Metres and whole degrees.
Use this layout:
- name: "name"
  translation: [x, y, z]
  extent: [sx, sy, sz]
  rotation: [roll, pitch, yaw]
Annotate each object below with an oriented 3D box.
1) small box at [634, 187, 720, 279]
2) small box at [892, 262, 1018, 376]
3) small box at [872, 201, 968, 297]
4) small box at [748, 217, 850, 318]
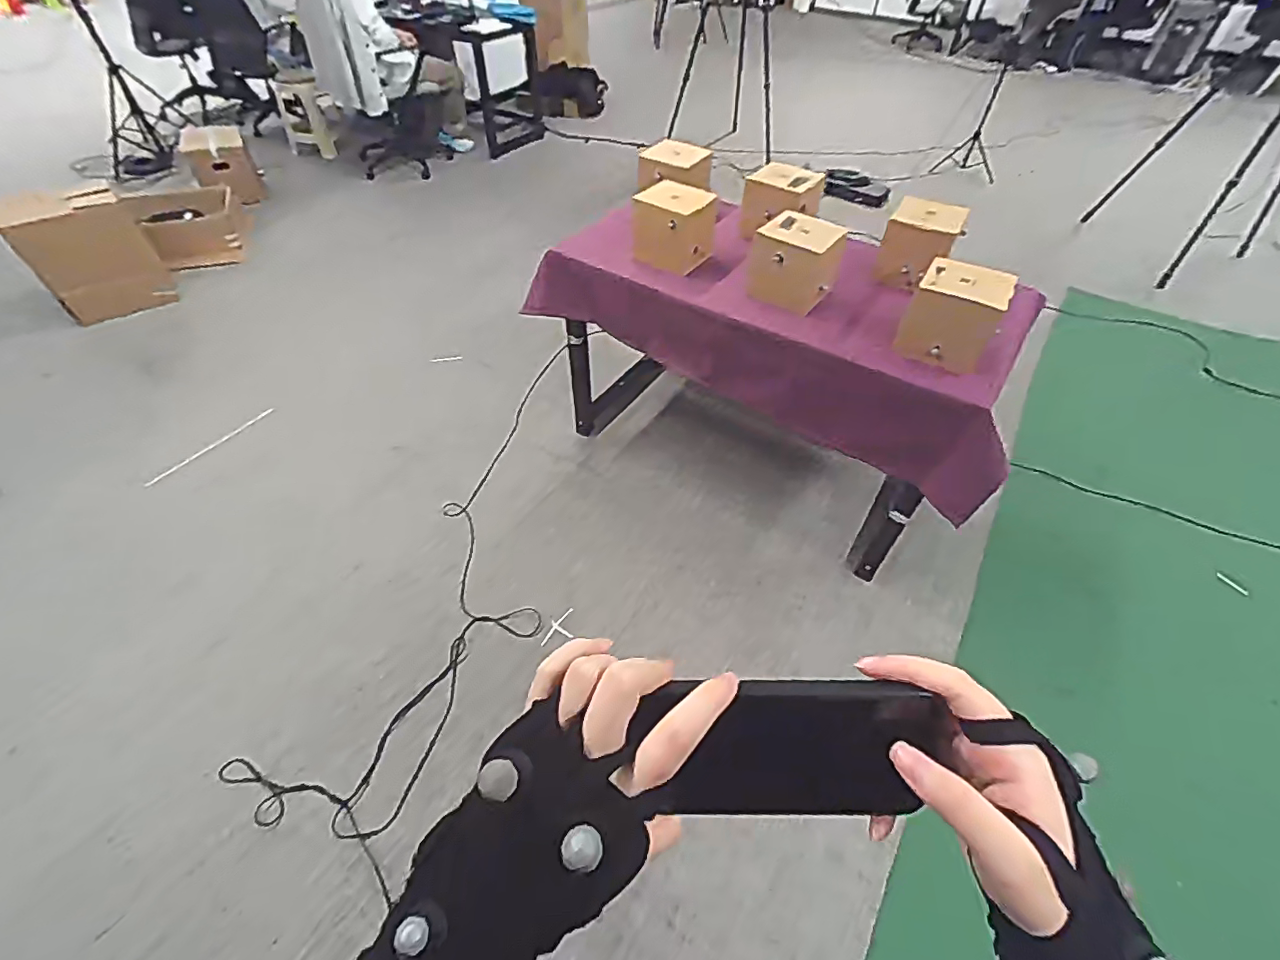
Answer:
- name: "small box"
  translation: [0.097, -0.682, 1.497]
  extent: [0.179, 0.176, 0.168]
  rotation: [29, 54, 21]
- name: "small box"
  translation: [0.707, -0.360, 1.224]
  extent: [0.179, 0.176, 0.168]
  rotation: [27, 52, 21]
- name: "small box"
  translation: [0.746, -0.617, 1.452]
  extent: [0.168, 0.176, 0.179]
  rotation: [25, 53, 20]
- name: "small box"
  translation: [0.397, -0.540, 1.377]
  extent: [0.179, 0.176, 0.168]
  rotation: [31, 55, 22]
